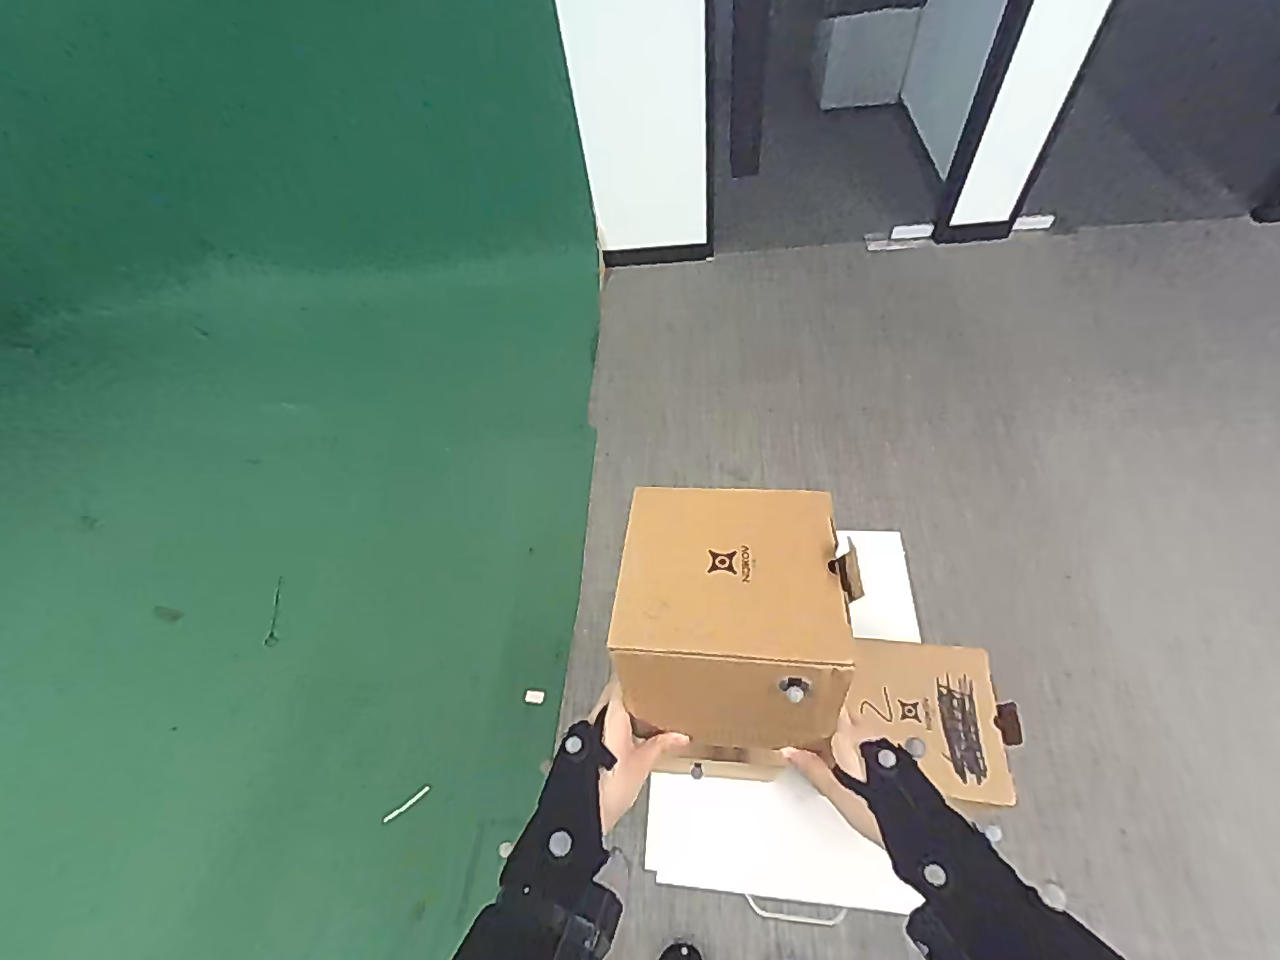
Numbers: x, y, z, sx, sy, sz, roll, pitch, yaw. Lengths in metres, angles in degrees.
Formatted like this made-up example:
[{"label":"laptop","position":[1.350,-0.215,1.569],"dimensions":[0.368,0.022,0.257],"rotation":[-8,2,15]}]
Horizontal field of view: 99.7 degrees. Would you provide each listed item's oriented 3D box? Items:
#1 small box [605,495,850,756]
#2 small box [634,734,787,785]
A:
[{"label":"small box","position":[0.077,0.131,0.491],"dimensions":[0.179,0.176,0.168],"rotation":[2,44,8]},{"label":"small box","position":[0.094,0.302,0.721],"dimensions":[0.179,0.176,0.168],"rotation":[1,56,8]}]
